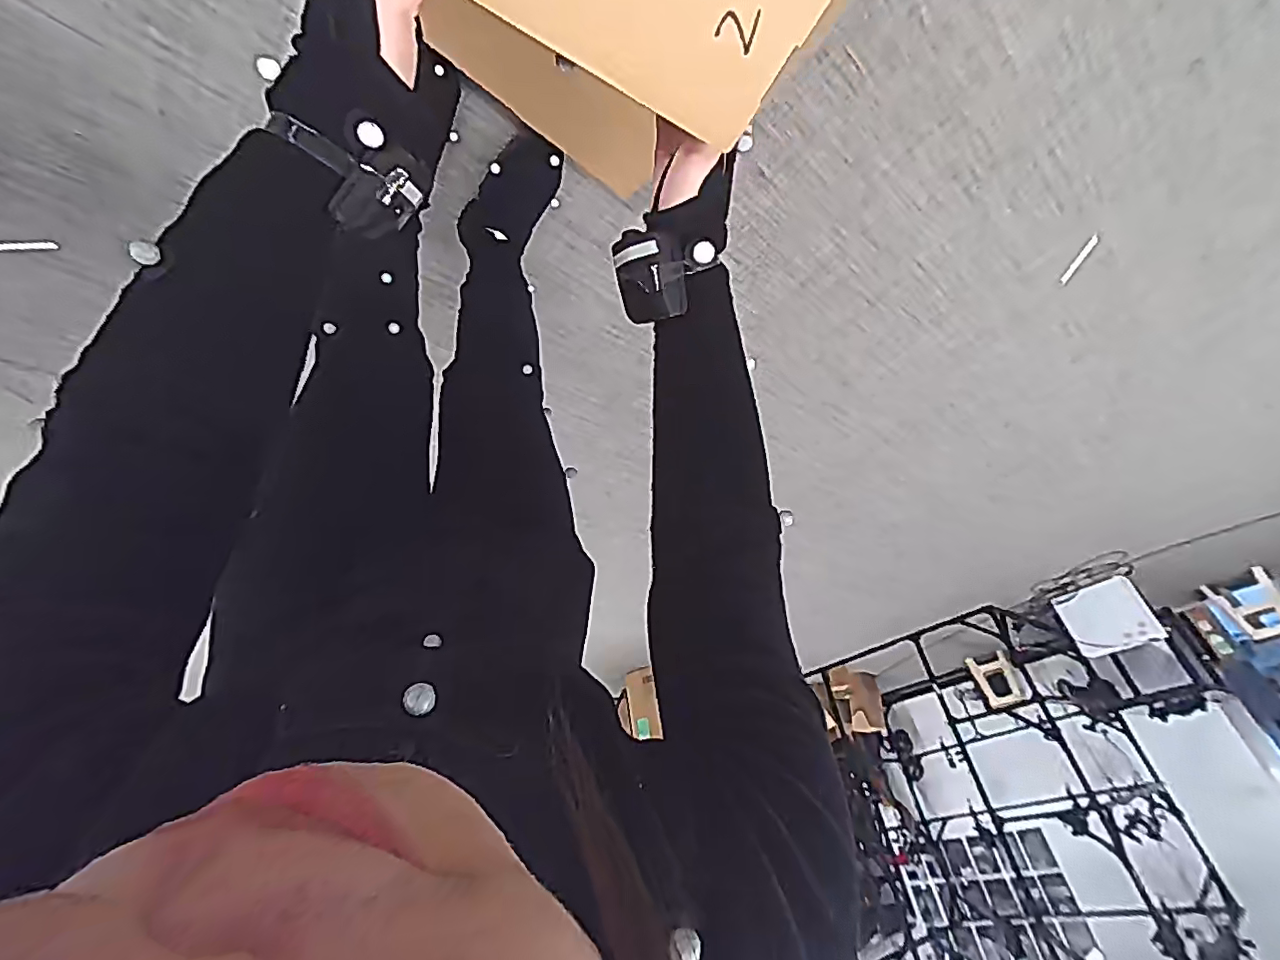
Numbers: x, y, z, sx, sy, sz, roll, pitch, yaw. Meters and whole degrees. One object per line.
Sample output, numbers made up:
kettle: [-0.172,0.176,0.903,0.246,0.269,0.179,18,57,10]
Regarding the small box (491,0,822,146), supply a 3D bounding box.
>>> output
small box: [0.004,-0.320,0.268,0.179,0.176,0.168,10,141,-33]
